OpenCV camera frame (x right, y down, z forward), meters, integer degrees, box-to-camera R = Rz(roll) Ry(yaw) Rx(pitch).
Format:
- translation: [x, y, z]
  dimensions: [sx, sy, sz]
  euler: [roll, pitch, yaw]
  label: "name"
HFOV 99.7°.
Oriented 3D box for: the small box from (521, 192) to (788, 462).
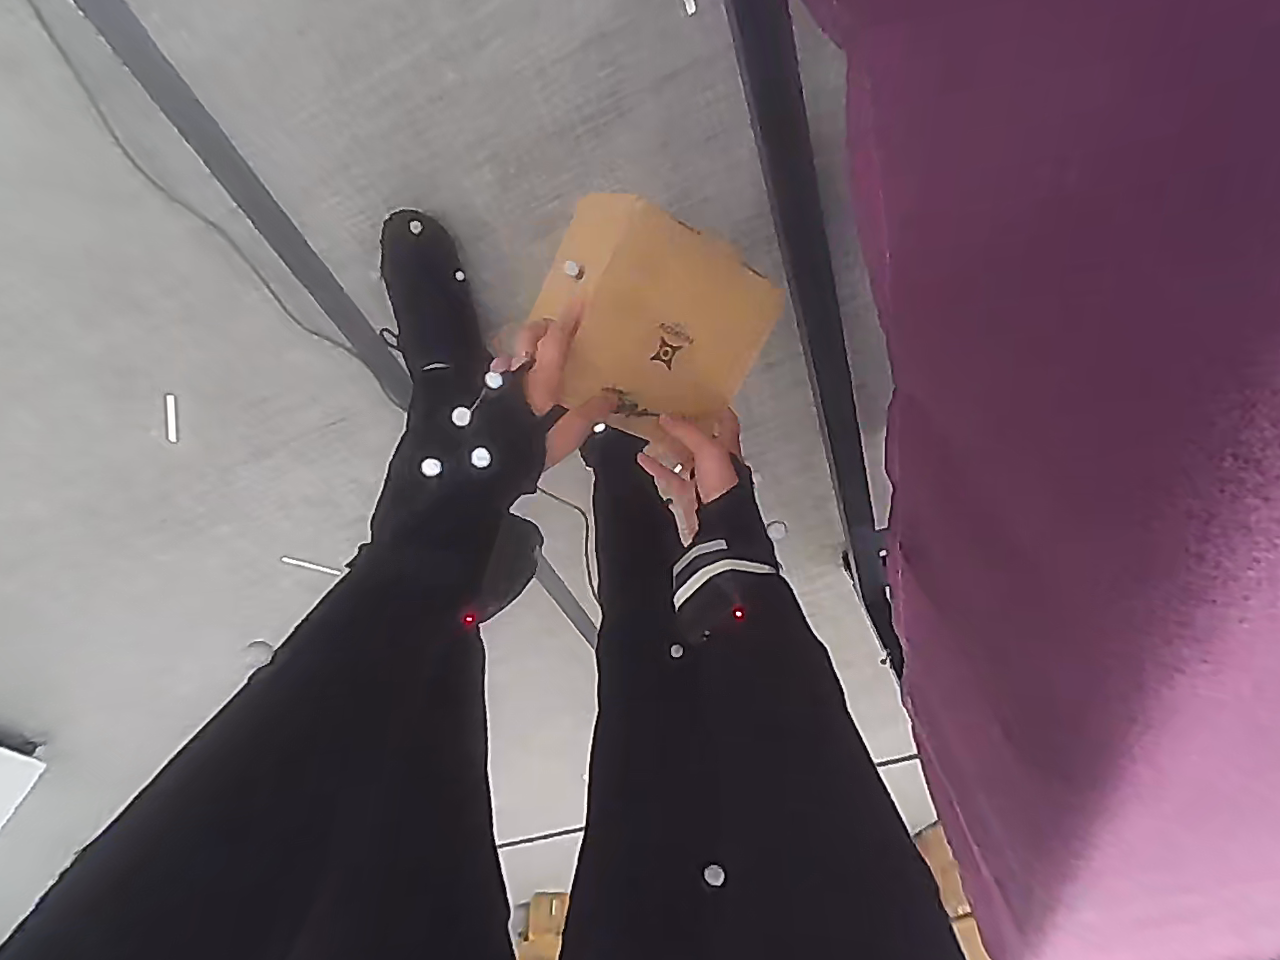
- translation: [-0.002, -0.149, 0.517]
  dimensions: [0.168, 0.176, 0.179]
  euler: [19, 109, -28]
  label: "small box"
